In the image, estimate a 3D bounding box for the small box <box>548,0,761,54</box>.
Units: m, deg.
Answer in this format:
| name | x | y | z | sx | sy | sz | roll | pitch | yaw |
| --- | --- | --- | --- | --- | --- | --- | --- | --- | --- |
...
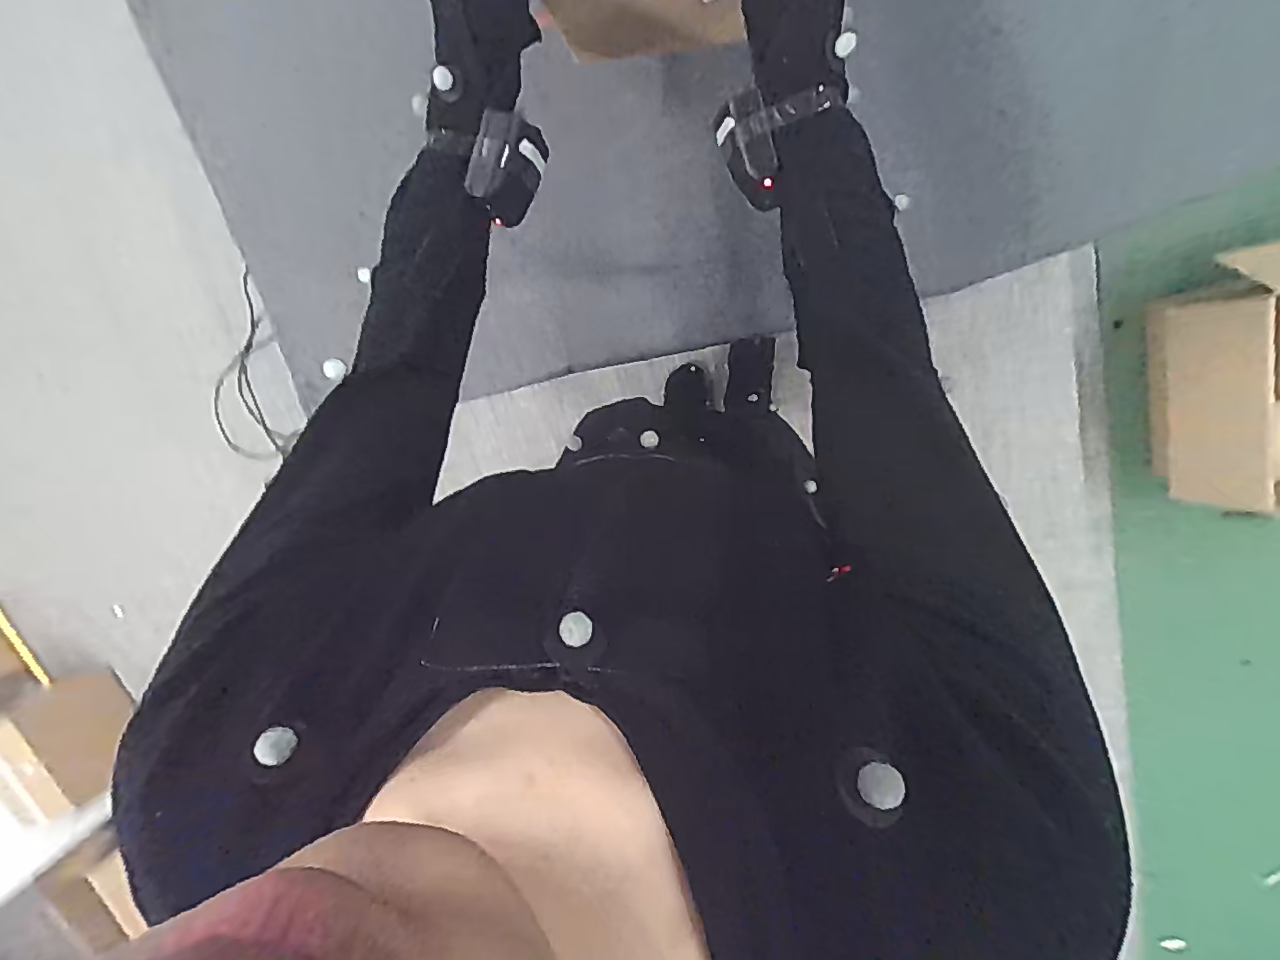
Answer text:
| name | x | y | z | sx | sy | sz | roll | pitch | yaw |
| --- | --- | --- | --- | --- | --- | --- | --- | --- | --- |
| small box | 0.011 | -0.458 | 0.407 | 0.179 | 0.176 | 0.168 | -2 | 110 | 9 |
